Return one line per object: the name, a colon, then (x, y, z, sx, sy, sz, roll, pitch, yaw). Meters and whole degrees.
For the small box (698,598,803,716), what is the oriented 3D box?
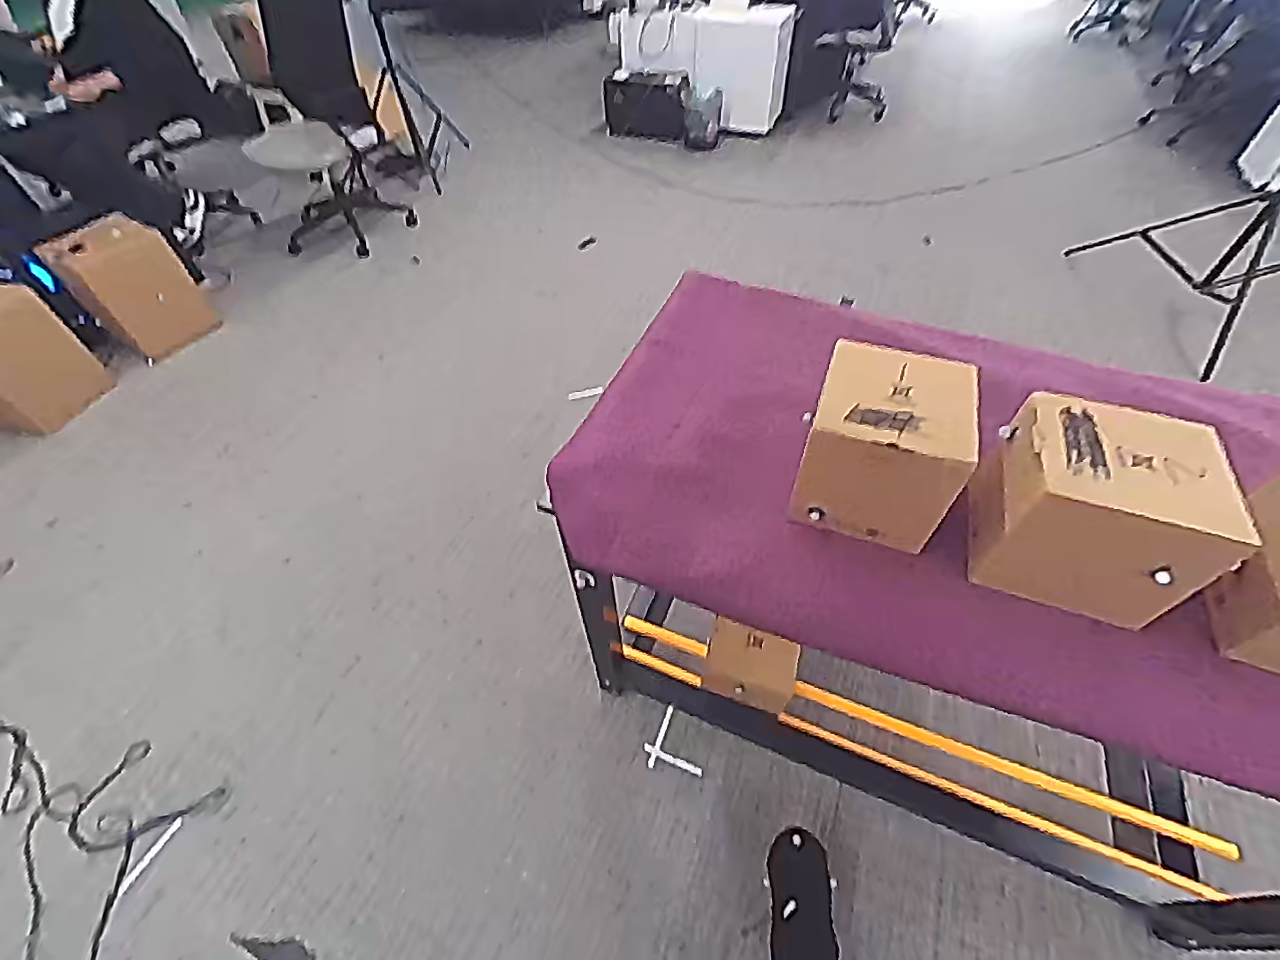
small box: (0.229, 0.378, 1.142, 0.179, 0.176, 0.168, 13, 53, 14)
